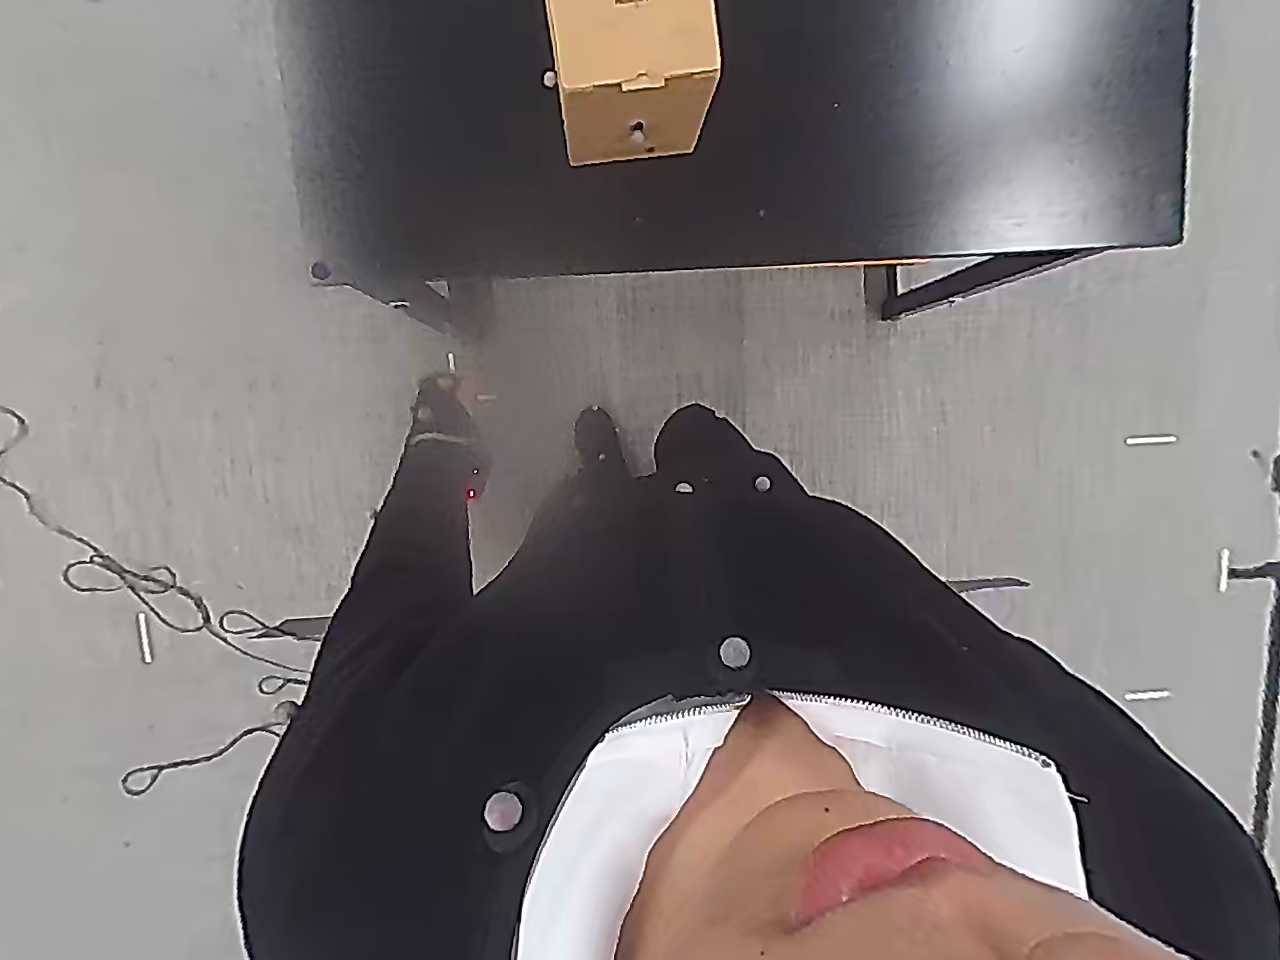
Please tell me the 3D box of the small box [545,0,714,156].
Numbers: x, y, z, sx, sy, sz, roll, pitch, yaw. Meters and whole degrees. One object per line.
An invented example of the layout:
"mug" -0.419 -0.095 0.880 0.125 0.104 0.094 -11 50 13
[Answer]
"small box" -0.018 -0.500 0.623 0.168 0.176 0.179 -9 97 -3
